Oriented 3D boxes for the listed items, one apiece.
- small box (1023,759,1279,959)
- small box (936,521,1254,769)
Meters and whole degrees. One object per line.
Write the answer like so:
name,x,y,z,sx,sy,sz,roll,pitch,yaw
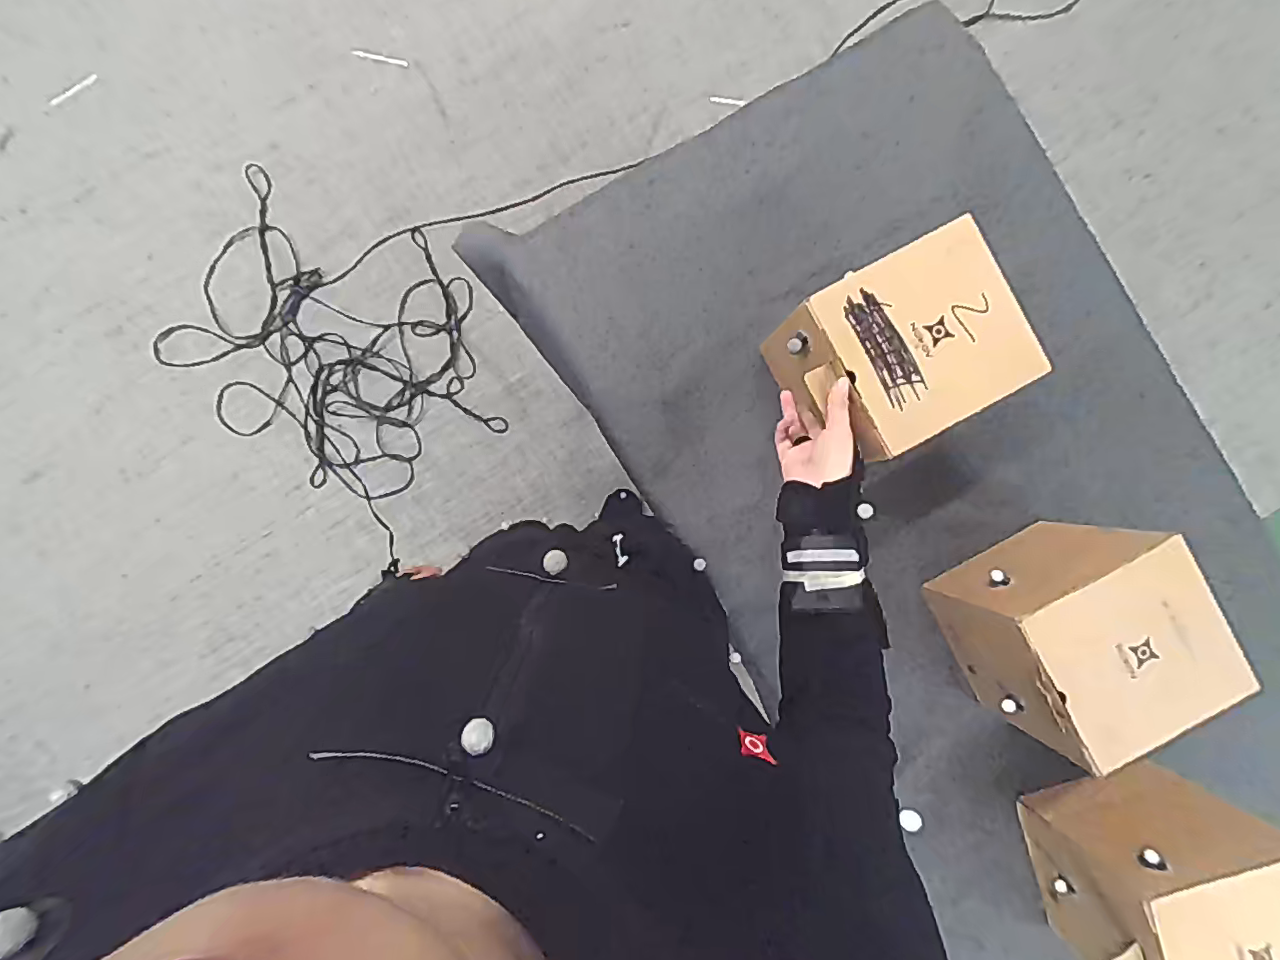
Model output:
small box,0.567,0.433,0.579,0.179,0.176,0.168,-16,90,-1
small box,0.455,0.157,0.579,0.179,0.176,0.168,-29,92,-3
